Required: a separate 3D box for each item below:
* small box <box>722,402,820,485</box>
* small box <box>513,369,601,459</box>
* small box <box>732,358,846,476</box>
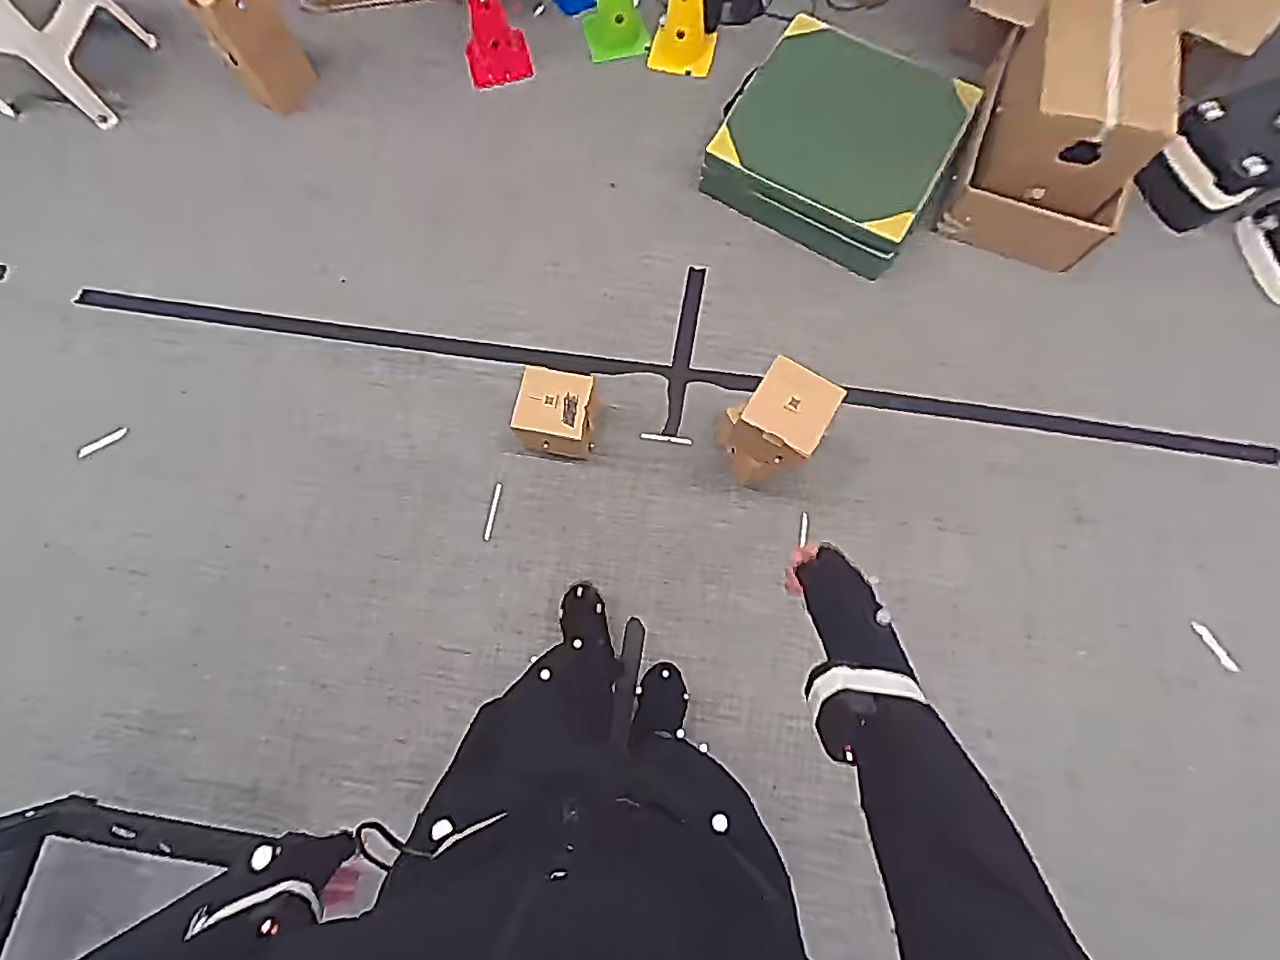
[{"bbox_3d":[0.319,-0.103,1.366,0.179,0.176,0.168,-23,77,-6],"label":"small box"},{"bbox_3d":[-0.203,-0.162,1.384,0.179,0.176,0.168,11,76,5],"label":"small box"},{"bbox_3d":[0.321,-0.130,1.202,0.168,0.176,0.179,32,78,6],"label":"small box"}]
